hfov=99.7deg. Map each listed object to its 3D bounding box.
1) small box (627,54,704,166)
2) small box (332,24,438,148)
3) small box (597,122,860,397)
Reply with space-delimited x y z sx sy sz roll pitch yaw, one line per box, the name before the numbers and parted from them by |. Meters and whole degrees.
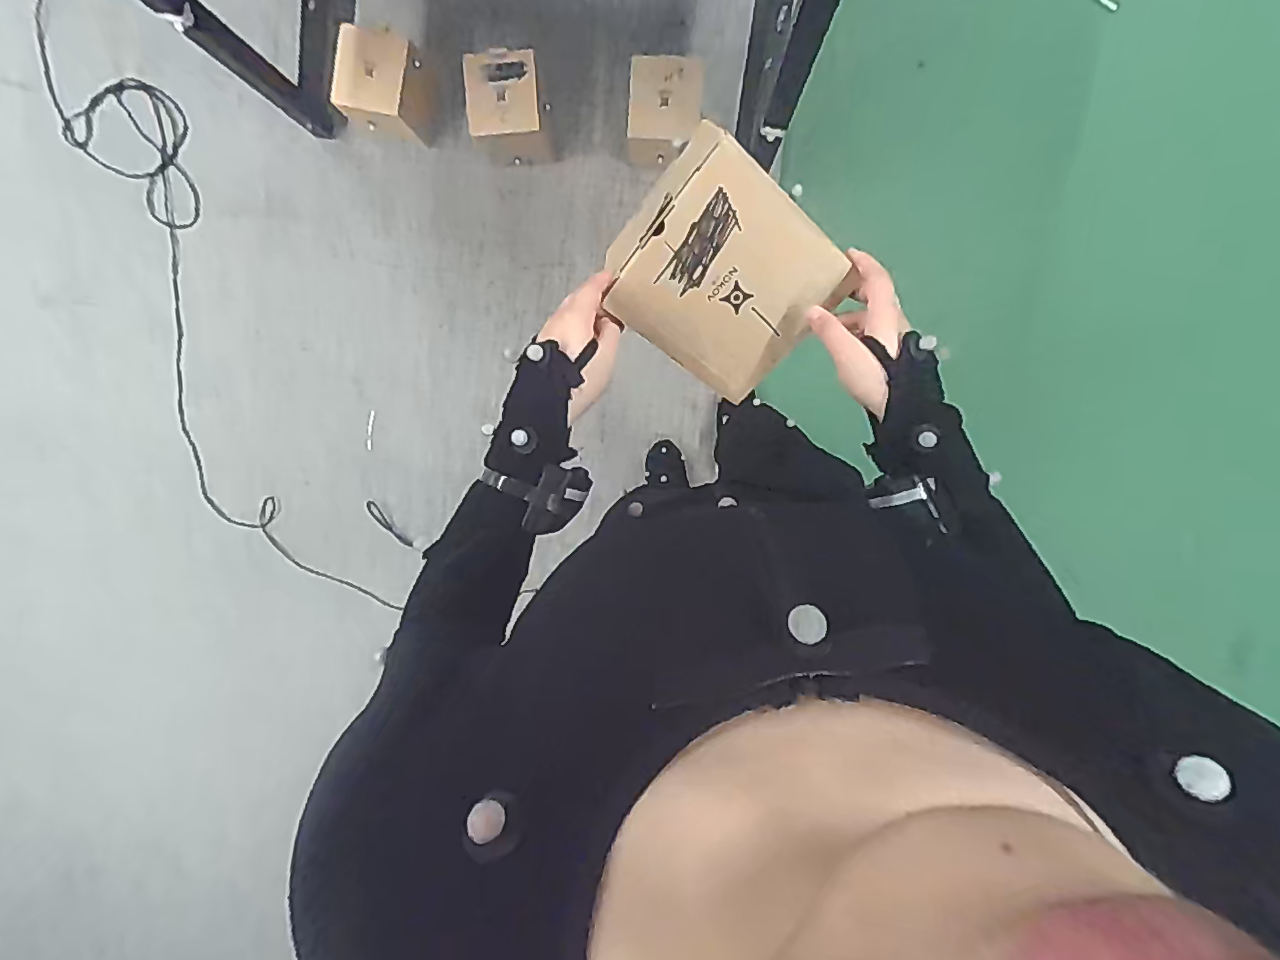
small box | 0.061 -0.866 1.286 0.168 0.176 0.179 4 98 2
small box | -0.613 -0.947 1.317 0.168 0.176 0.179 13 97 2
small box | 0.077 -0.222 0.542 0.179 0.176 0.168 32 120 -22
